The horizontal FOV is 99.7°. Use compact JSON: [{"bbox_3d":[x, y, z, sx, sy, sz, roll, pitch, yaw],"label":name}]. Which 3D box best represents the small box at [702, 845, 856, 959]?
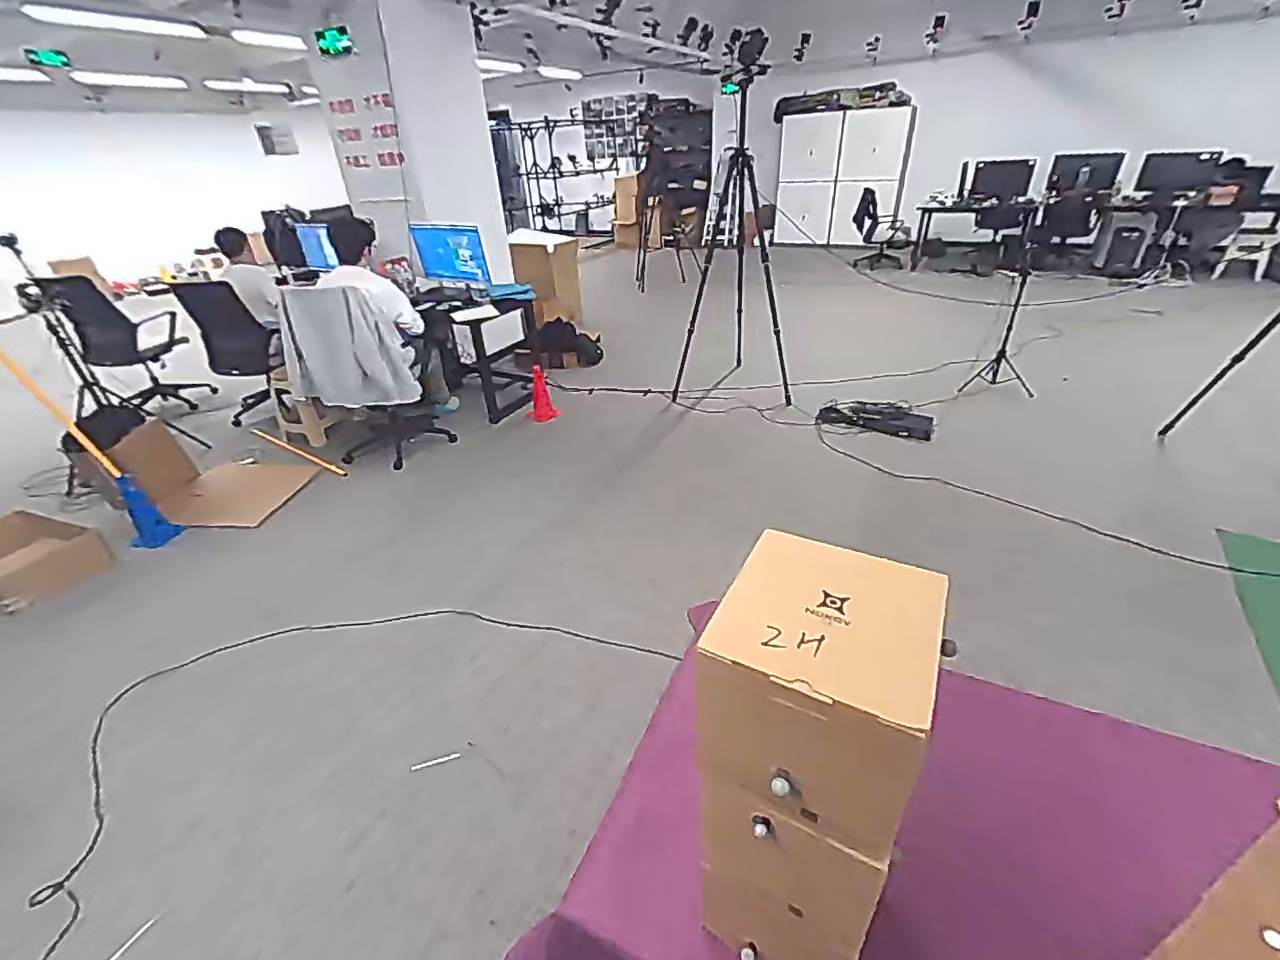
[{"bbox_3d":[0.183,0.461,0.652,0.168,0.176,0.179,14,36,29],"label":"small box"}]

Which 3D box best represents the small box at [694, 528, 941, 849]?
[{"bbox_3d":[0.156,0.175,0.489,0.168,0.176,0.179,13,35,27],"label":"small box"}]

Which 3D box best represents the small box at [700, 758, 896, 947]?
[{"bbox_3d":[0.172,0.320,0.567,0.168,0.176,0.179,13,34,29],"label":"small box"}]
